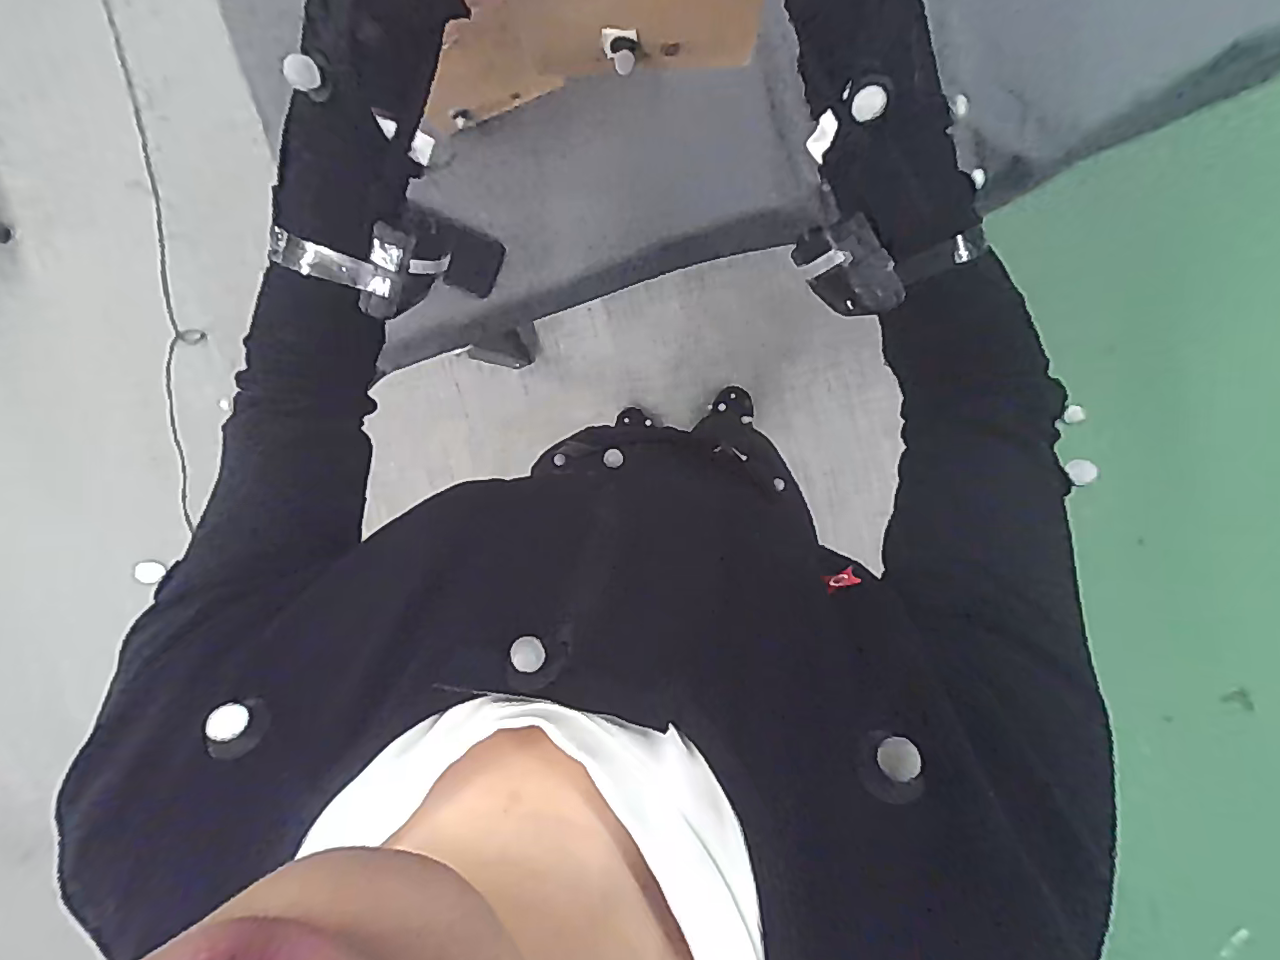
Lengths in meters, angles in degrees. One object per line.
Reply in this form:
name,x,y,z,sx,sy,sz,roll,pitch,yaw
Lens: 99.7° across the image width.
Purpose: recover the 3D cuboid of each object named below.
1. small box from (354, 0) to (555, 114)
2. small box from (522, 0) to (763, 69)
small box,-0.206,-0.538,0.583,0.168,0.176,0.179,-19,96,5
small box,-0.002,-0.391,0.322,0.168,0.176,0.179,-1,97,2
